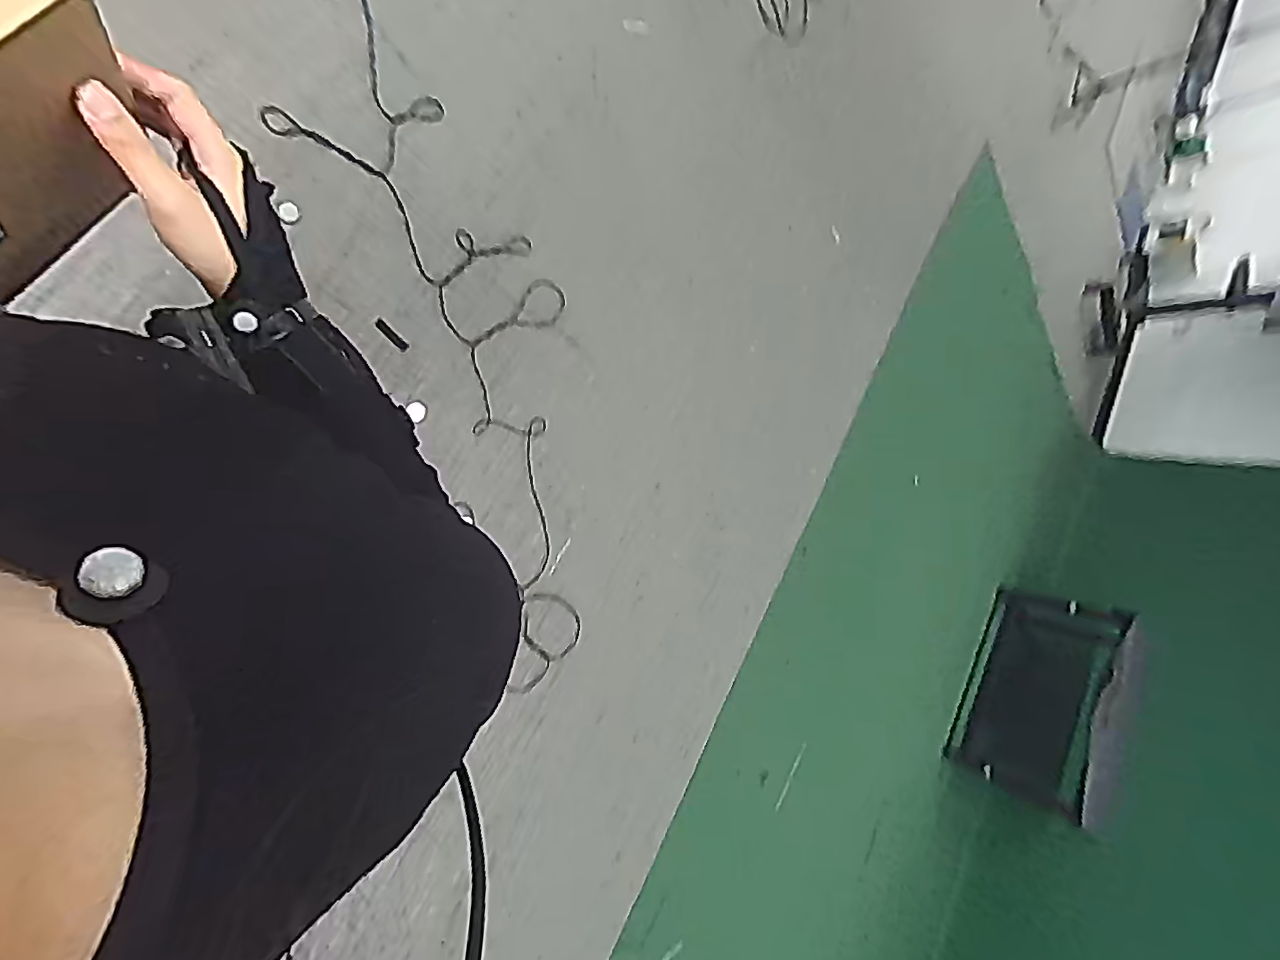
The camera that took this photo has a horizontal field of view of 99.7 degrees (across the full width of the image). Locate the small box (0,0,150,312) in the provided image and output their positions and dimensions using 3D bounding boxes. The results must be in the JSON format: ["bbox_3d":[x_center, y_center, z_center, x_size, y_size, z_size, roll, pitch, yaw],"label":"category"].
[{"bbox_3d":[-0.364,-0.181,0.229,0.168,0.176,0.179,40,72,-29],"label":"small box"}]
